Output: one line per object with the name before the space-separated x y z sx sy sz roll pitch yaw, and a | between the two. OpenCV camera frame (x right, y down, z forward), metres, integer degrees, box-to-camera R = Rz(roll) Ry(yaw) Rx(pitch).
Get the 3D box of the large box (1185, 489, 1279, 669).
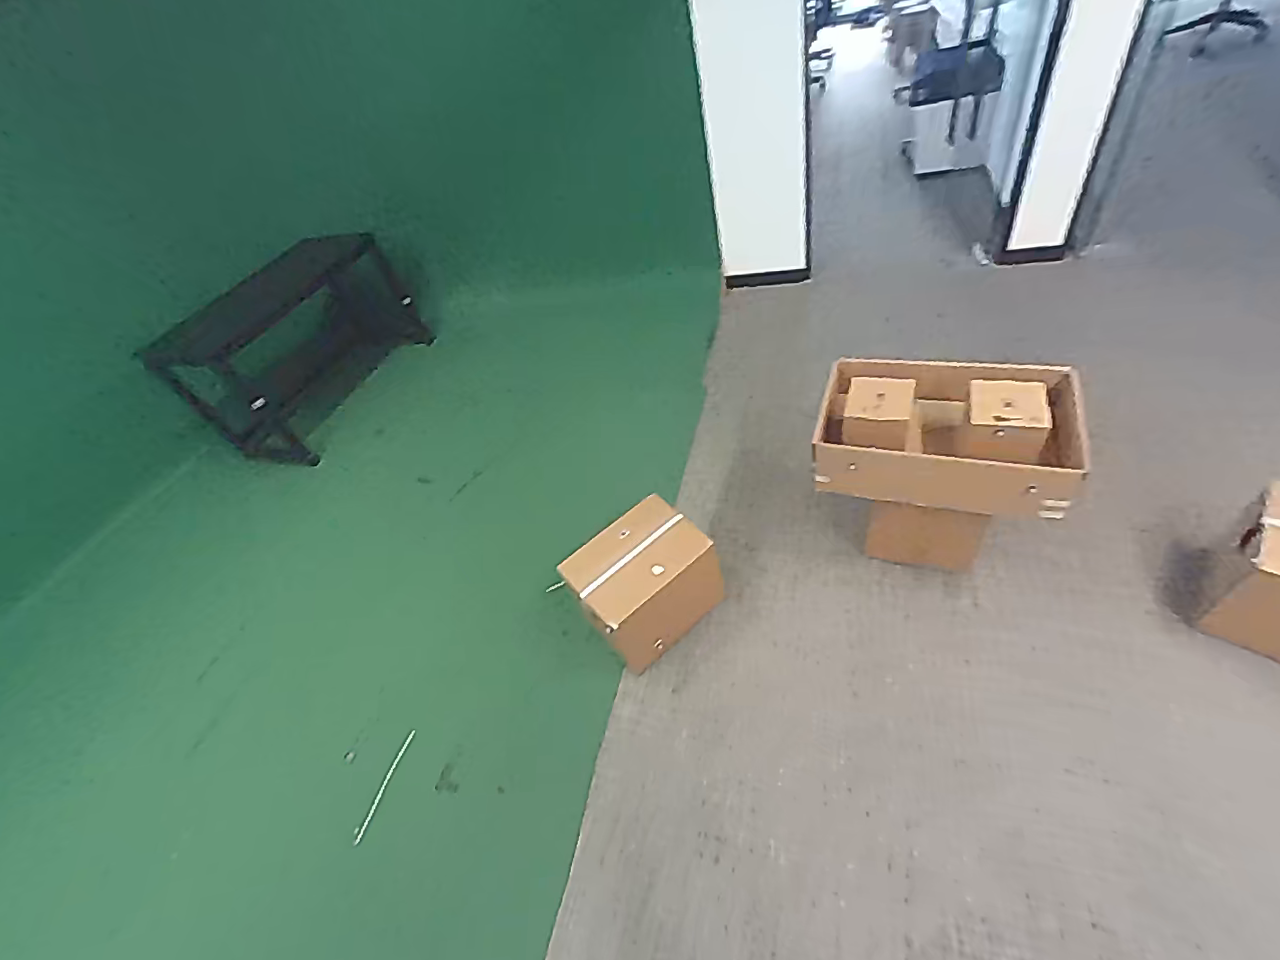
large box | 1.685 0.284 1.317 0.408 0.320 0.320 23 57 34
